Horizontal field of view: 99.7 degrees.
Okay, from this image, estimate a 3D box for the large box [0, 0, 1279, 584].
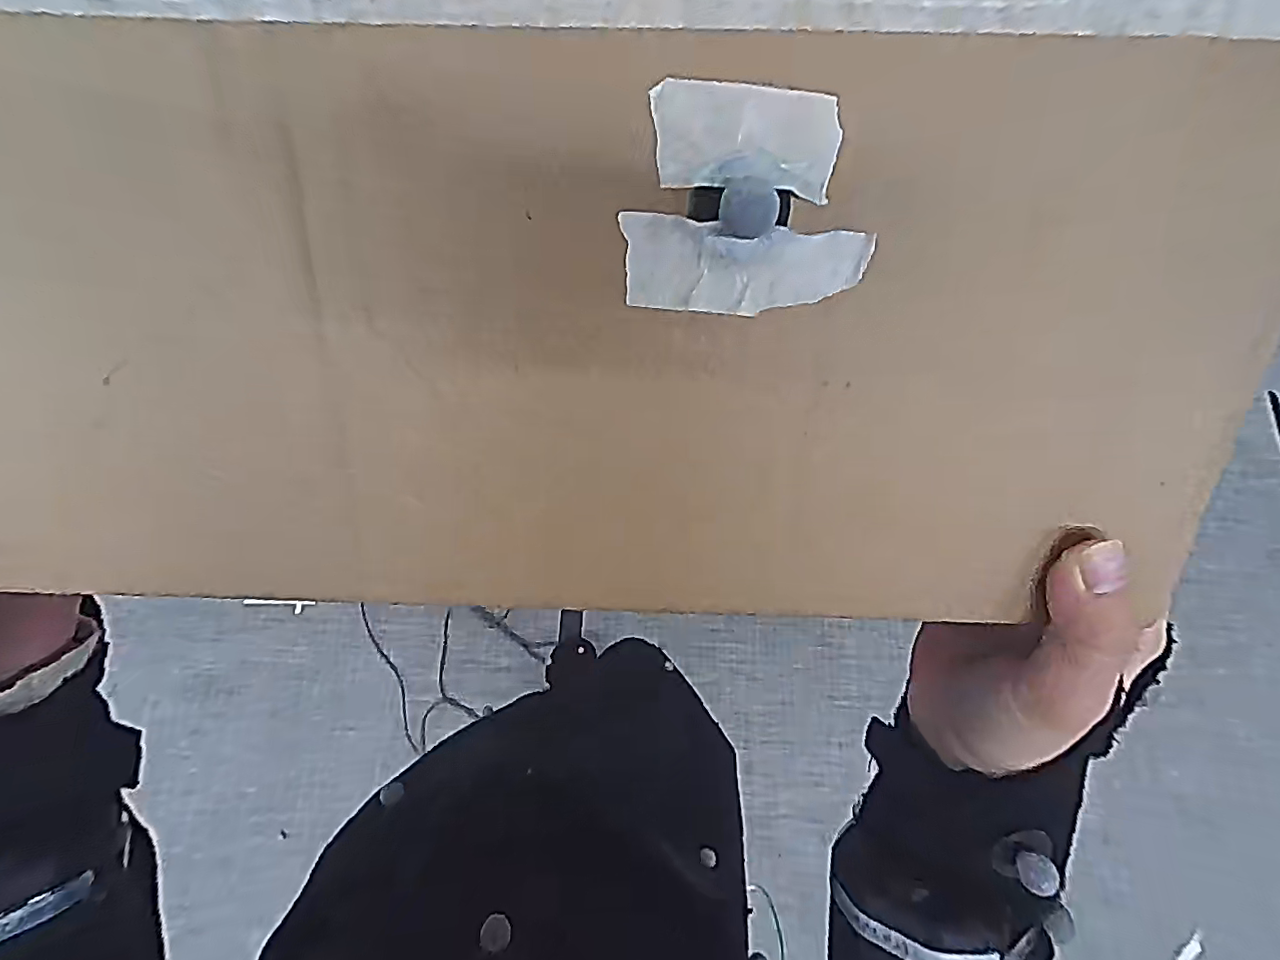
[{"bbox_3d":[-0.038,-0.158,0.272,0.408,0.320,0.320,1,109,-1],"label":"large box"}]
